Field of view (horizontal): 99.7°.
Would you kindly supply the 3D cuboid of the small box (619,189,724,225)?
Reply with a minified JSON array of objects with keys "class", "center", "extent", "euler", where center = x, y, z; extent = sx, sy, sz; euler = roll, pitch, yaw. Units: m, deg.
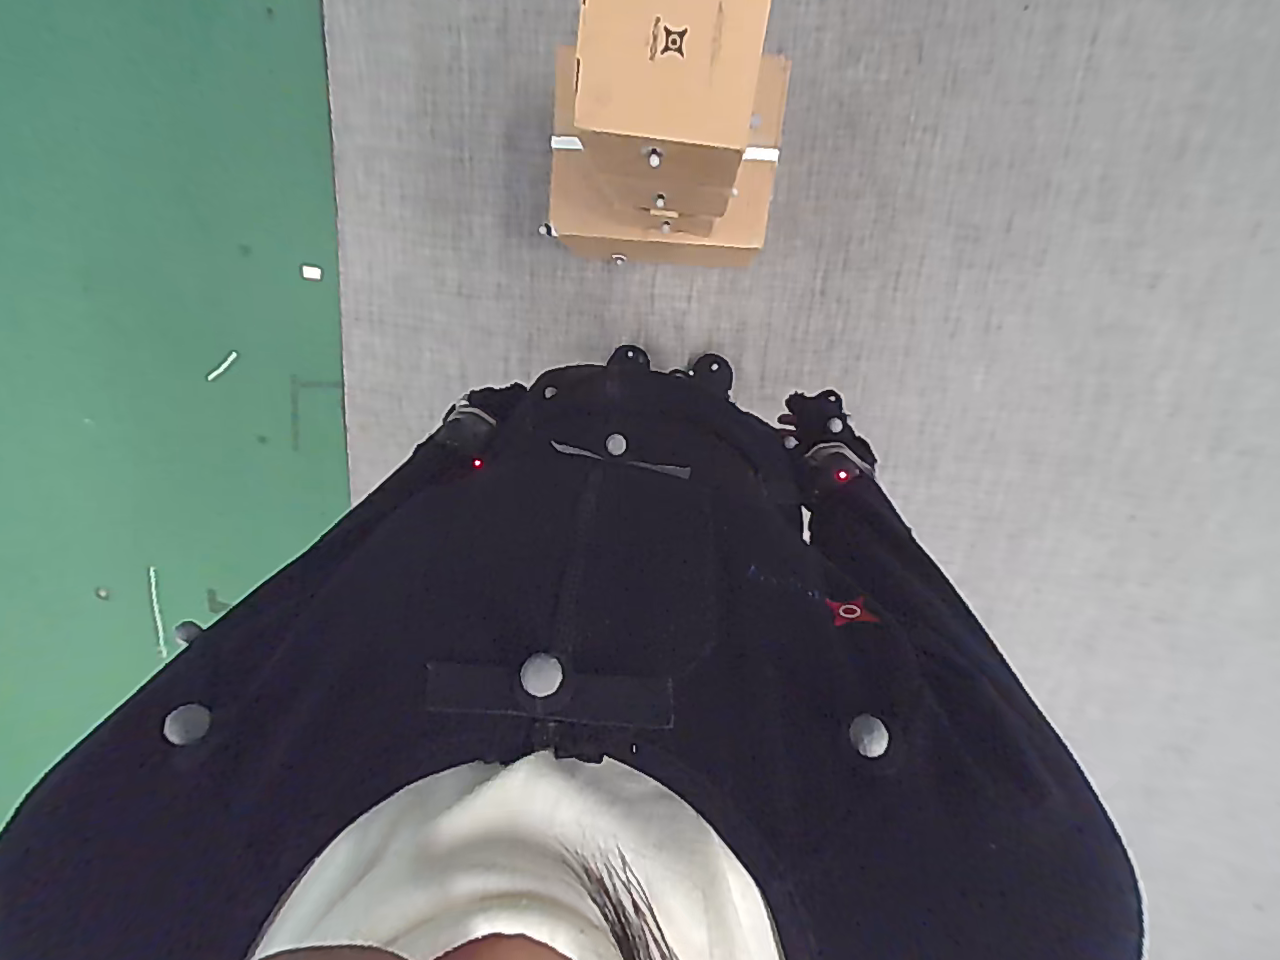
[{"class":"small box","center":[0.067,-0.533,0.891],"extent":[0.168,0.176,0.179],"euler":[9,107,4]}]

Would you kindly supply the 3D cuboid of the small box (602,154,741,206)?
[{"class":"small box","center":[0.056,-0.484,0.734],"extent":[0.179,0.176,0.168],"euler":[9,107,5]}]

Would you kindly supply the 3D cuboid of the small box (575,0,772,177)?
[{"class":"small box","center":[0.039,-0.441,0.579],"extent":[0.179,0.176,0.168],"euler":[8,108,3]}]
